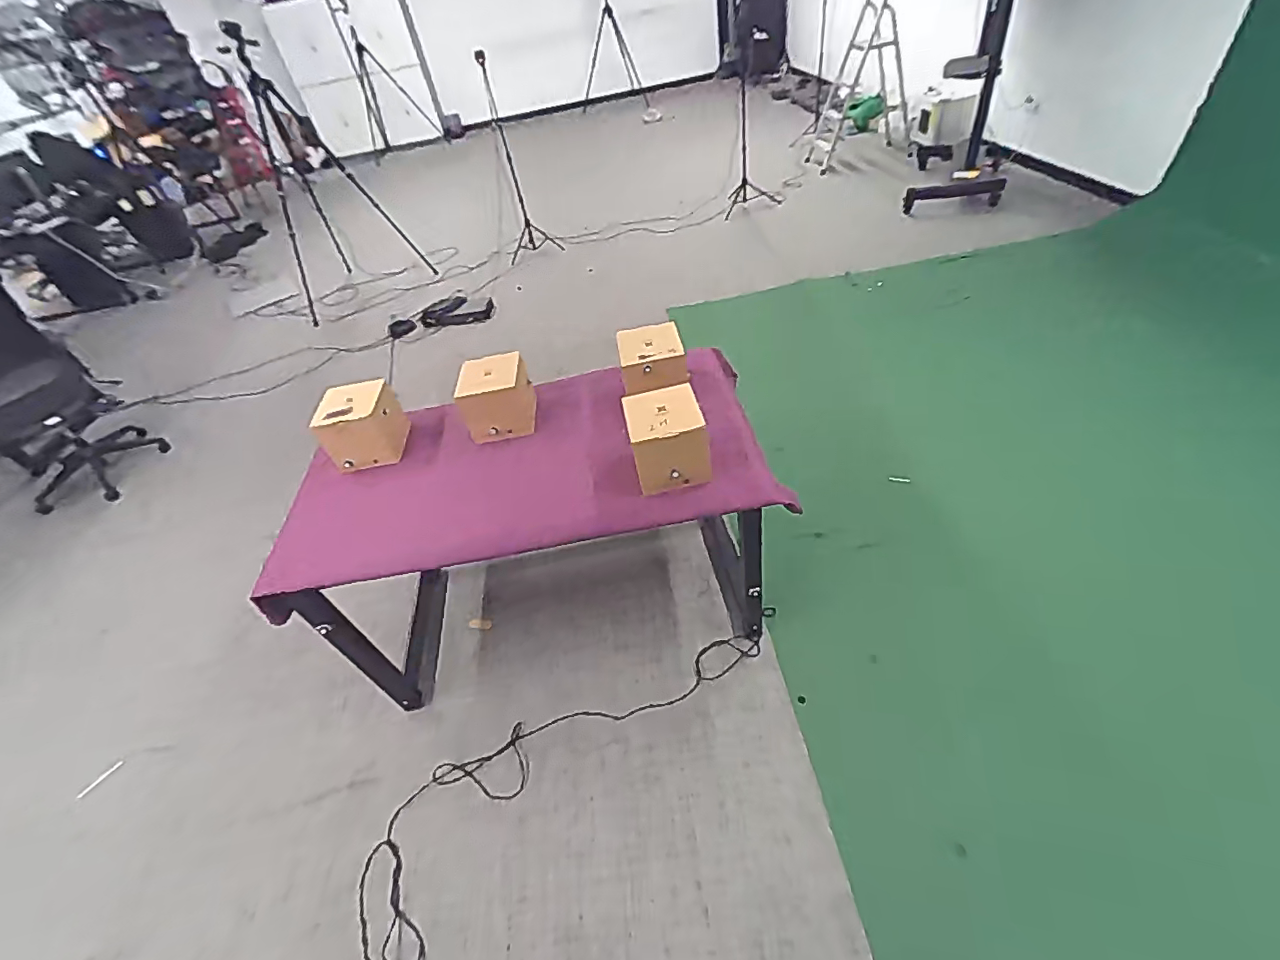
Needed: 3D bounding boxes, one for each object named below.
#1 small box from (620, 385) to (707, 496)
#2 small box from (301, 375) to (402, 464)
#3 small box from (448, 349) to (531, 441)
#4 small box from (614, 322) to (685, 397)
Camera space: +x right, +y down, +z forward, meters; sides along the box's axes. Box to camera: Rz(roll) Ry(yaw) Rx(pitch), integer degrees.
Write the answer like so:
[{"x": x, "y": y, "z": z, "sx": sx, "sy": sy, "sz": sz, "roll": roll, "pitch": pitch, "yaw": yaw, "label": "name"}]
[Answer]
[{"x": 0.054, "y": -0.091, "z": 1.251, "sx": 0.168, "sy": 0.176, "sz": 0.179, "roll": -12, "pitch": 45, "yaw": 1, "label": "small box"}, {"x": -0.774, "y": -0.158, "z": 1.473, "sx": 0.168, "sy": 0.176, "sz": 0.179, "roll": -9, "pitch": 45, "yaw": 0, "label": "small box"}, {"x": -0.404, "y": -0.231, "z": 1.482, "sx": 0.168, "sy": 0.176, "sz": 0.179, "roll": -9, "pitch": 46, "yaw": 2, "label": "small box"}, {"x": 0.027, "y": -0.303, "z": 1.470, "sx": 0.168, "sy": 0.176, "sz": 0.179, "roll": -11, "pitch": 45, "yaw": 1, "label": "small box"}]
